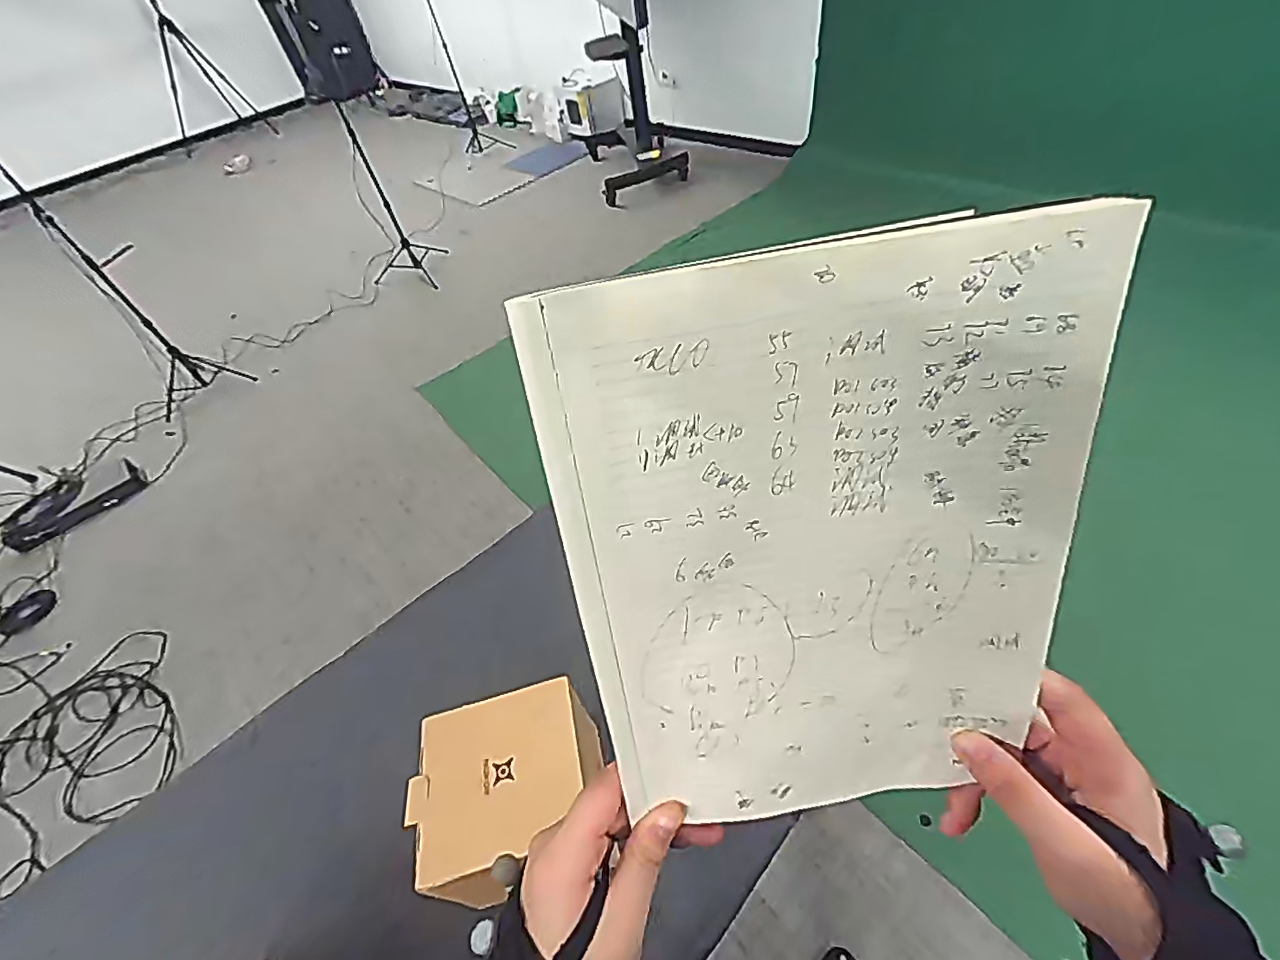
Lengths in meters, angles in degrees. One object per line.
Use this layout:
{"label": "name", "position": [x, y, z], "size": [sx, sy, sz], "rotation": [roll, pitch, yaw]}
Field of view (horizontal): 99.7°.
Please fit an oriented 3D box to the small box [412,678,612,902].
{"label": "small box", "position": [-0.137, 0.358, 0.621], "size": [0.179, 0.176, 0.168], "rotation": [-17, 47, -2]}
